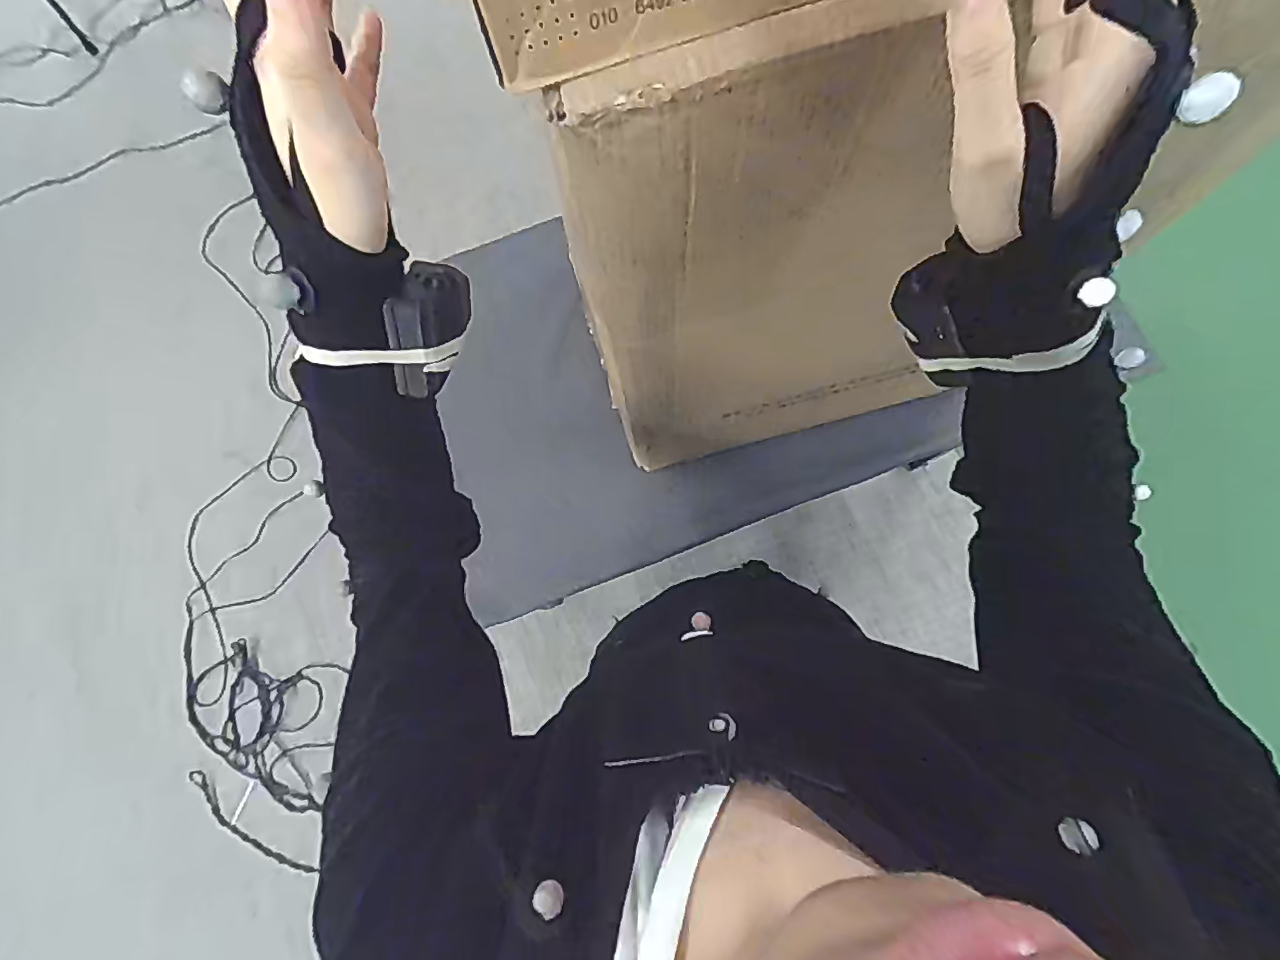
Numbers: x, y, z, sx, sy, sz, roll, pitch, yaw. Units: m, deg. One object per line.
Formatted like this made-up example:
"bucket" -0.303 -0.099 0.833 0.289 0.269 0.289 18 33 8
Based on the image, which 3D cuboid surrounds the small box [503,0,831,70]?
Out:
"small box" 0.000 -0.296 0.180 0.168 0.176 0.179 -18 79 -1
